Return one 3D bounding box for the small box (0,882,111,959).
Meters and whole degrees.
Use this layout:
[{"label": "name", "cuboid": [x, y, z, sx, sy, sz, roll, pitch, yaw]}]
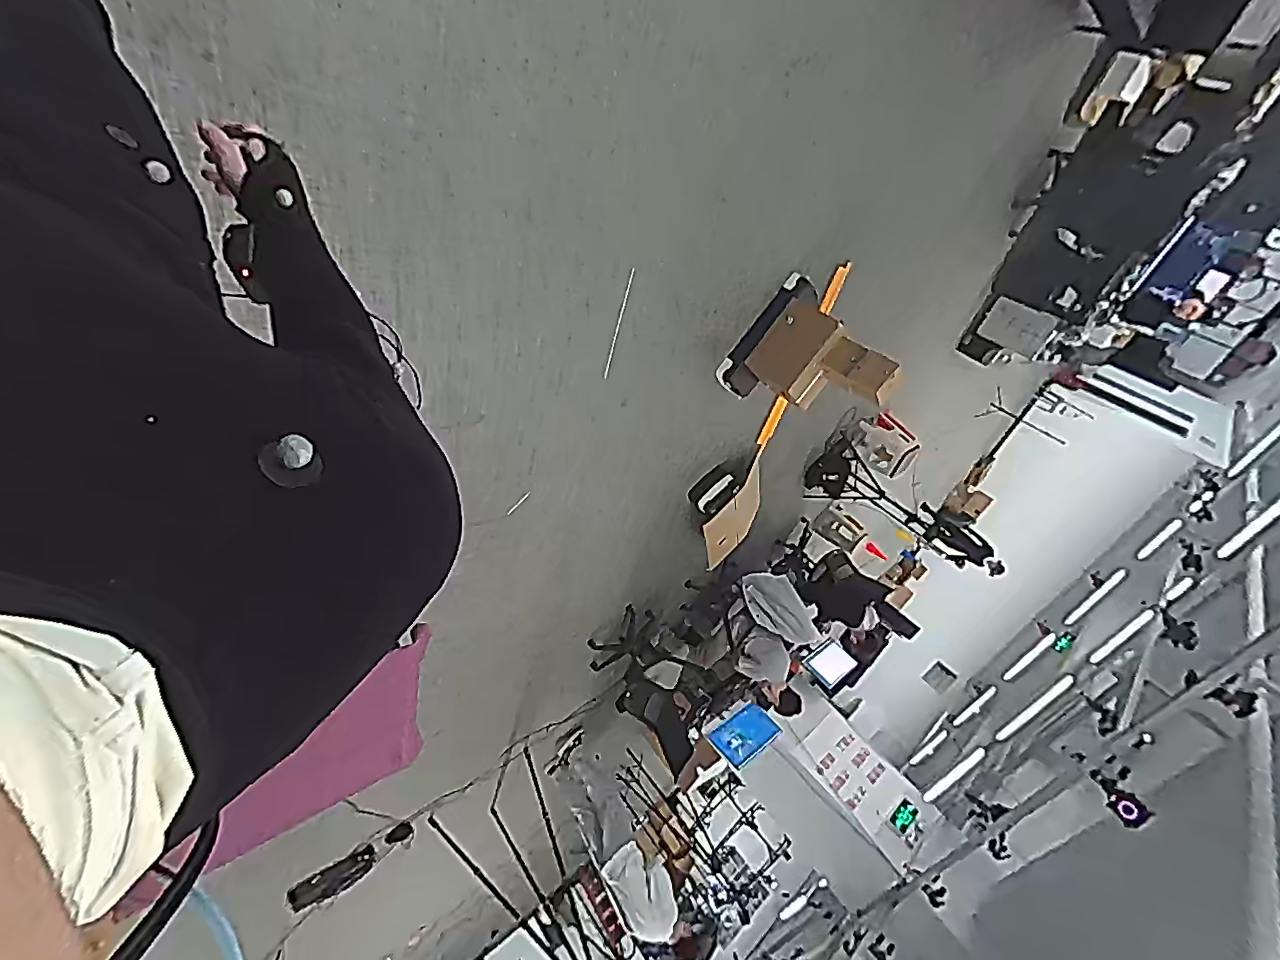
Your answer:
[{"label": "small box", "cuboid": [-1.240, 0.966, 1.100, 0.168, 0.176, 0.179, -28, 145, -30]}]
